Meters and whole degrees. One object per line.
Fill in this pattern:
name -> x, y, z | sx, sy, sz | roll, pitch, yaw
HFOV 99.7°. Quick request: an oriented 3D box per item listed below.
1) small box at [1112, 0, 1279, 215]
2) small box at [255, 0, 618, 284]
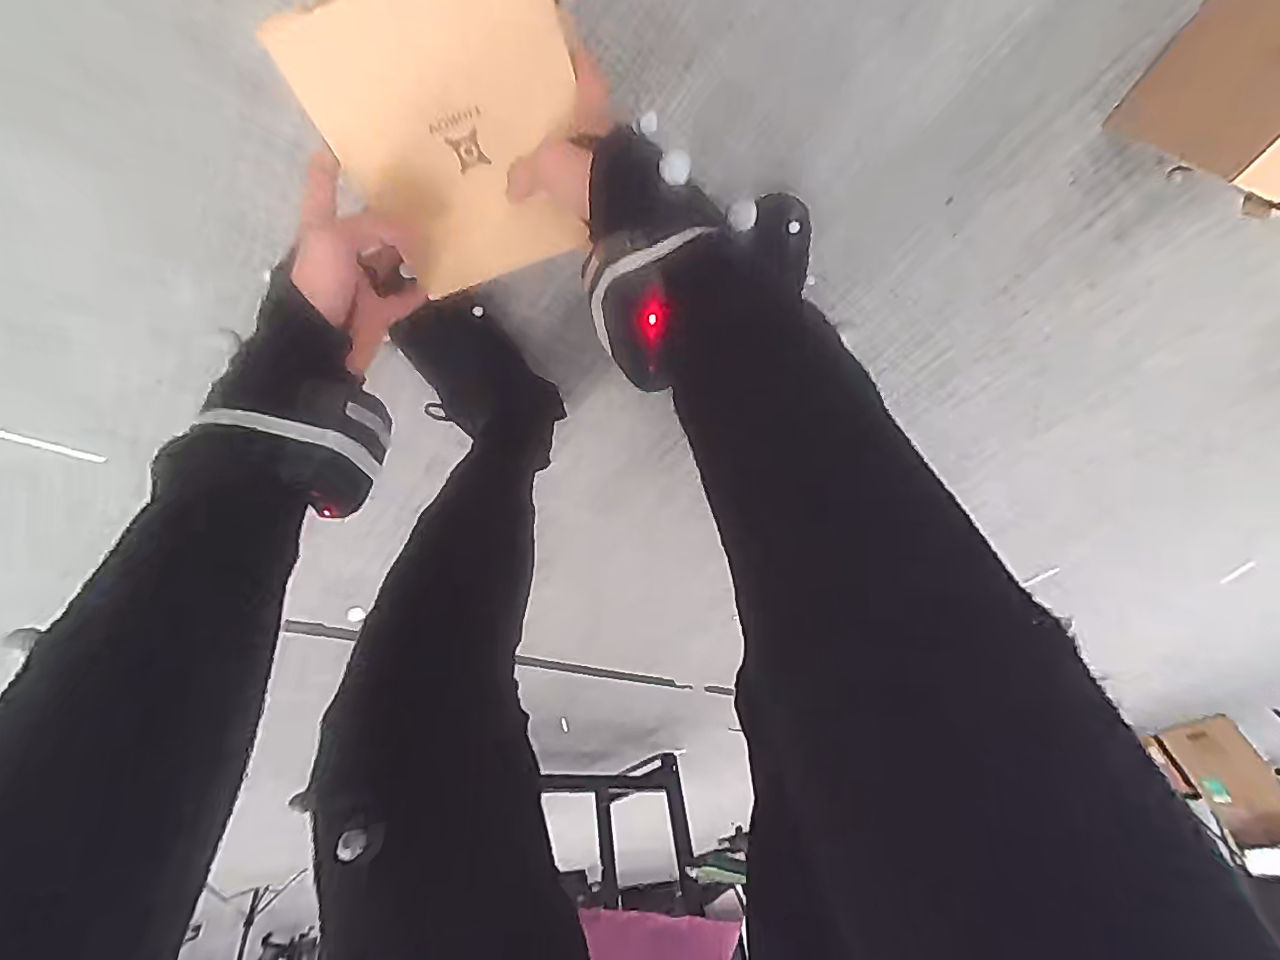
small box -> 0.621, -0.379, 0.509 | 0.168, 0.176, 0.179 | 7, 138, -20
small box -> -0.119, -0.284, 0.401 | 0.168, 0.176, 0.179 | -14, 136, 9
